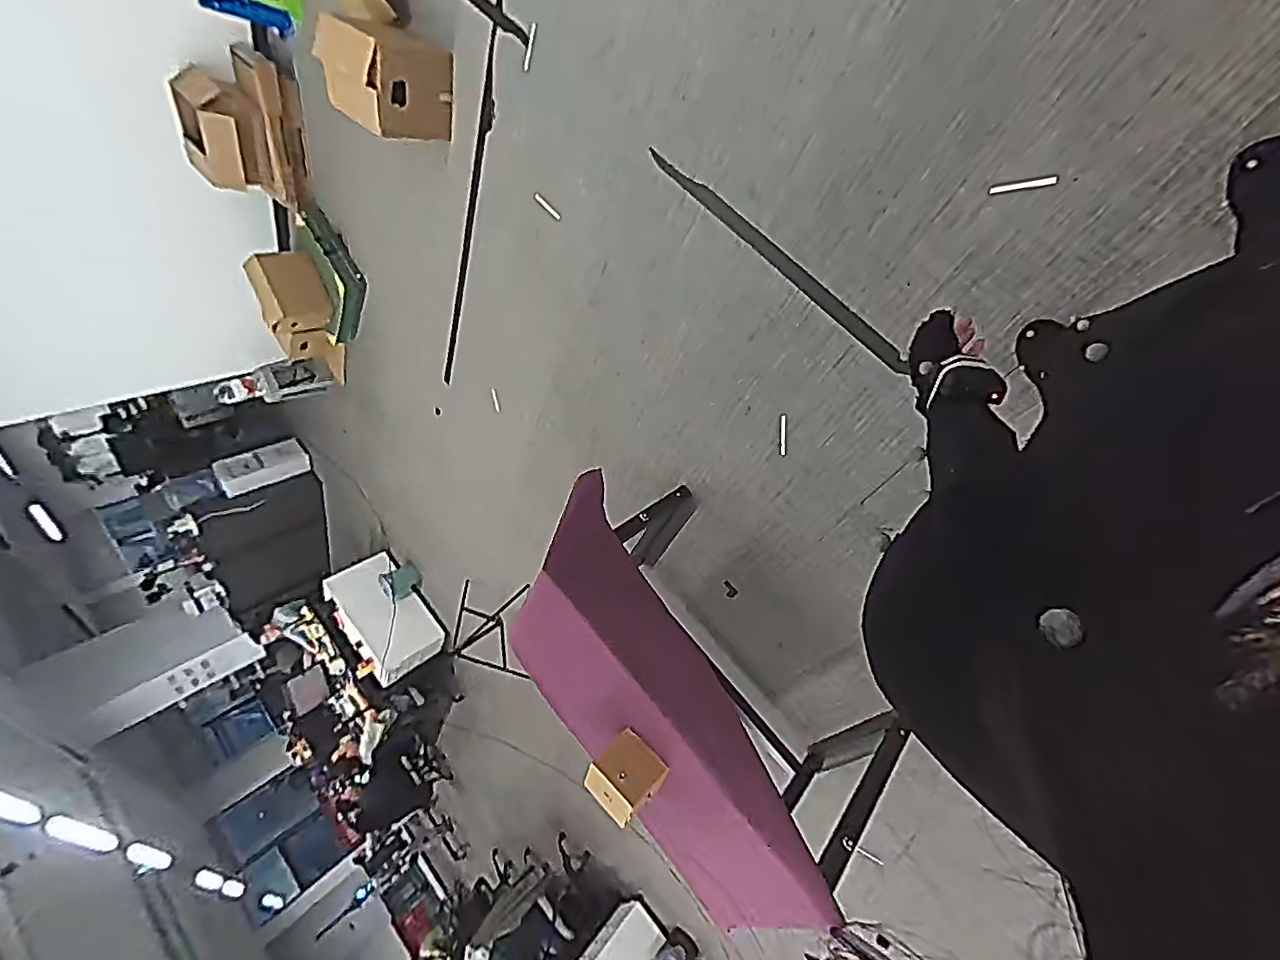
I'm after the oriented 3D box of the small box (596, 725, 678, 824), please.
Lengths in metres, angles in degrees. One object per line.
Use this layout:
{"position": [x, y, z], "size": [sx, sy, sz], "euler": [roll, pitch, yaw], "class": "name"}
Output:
{"position": [-0.009, 0.901, 1.664], "size": [0.179, 0.176, 0.168], "euler": [37, 134, 27], "class": "small box"}
